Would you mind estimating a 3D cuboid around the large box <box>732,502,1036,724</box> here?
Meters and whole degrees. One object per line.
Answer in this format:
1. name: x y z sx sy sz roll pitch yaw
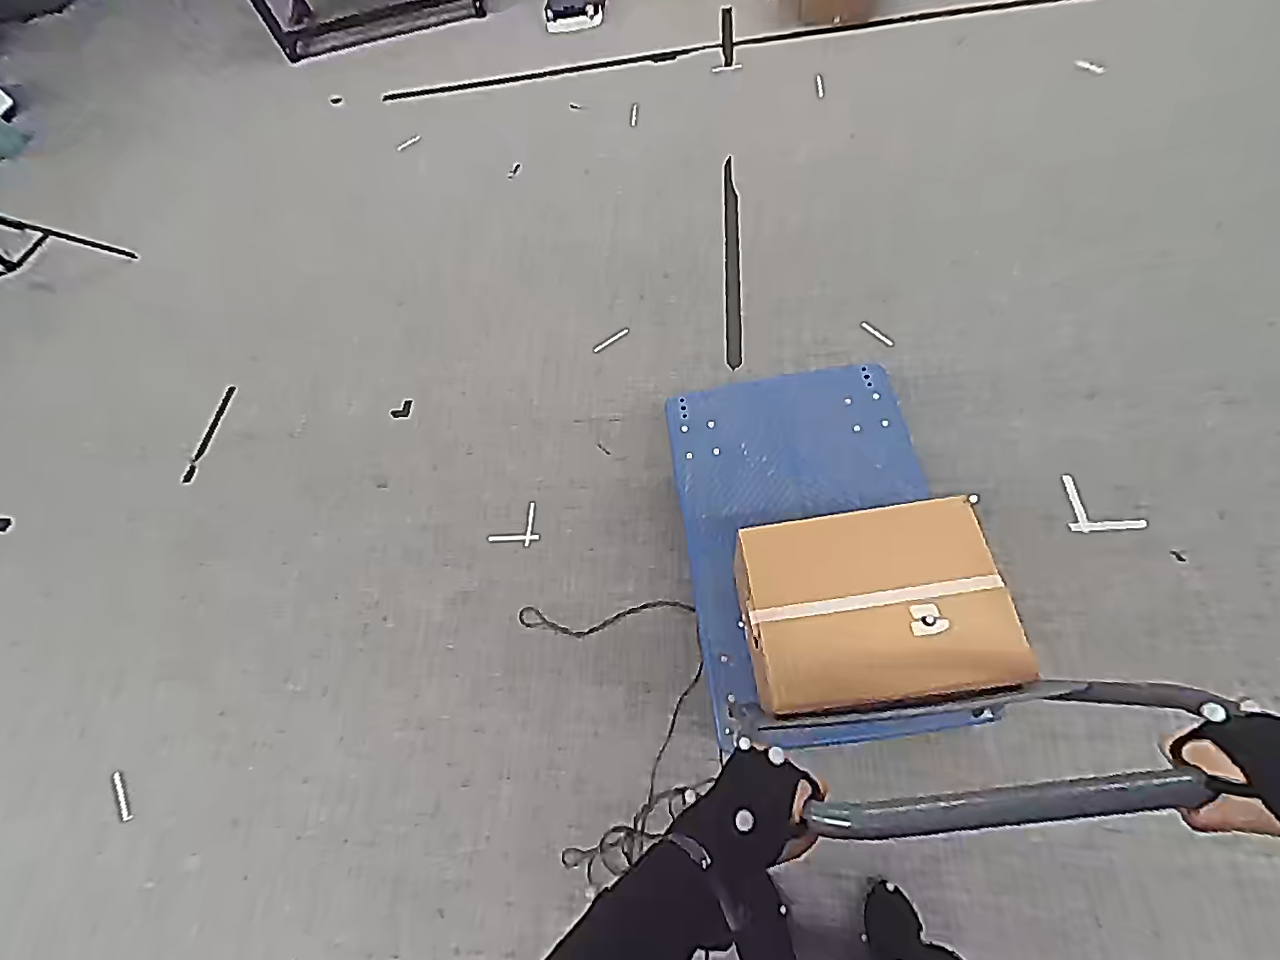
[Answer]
1. large box: 0.407 0.269 1.027 0.408 0.320 0.320 -9 66 3
